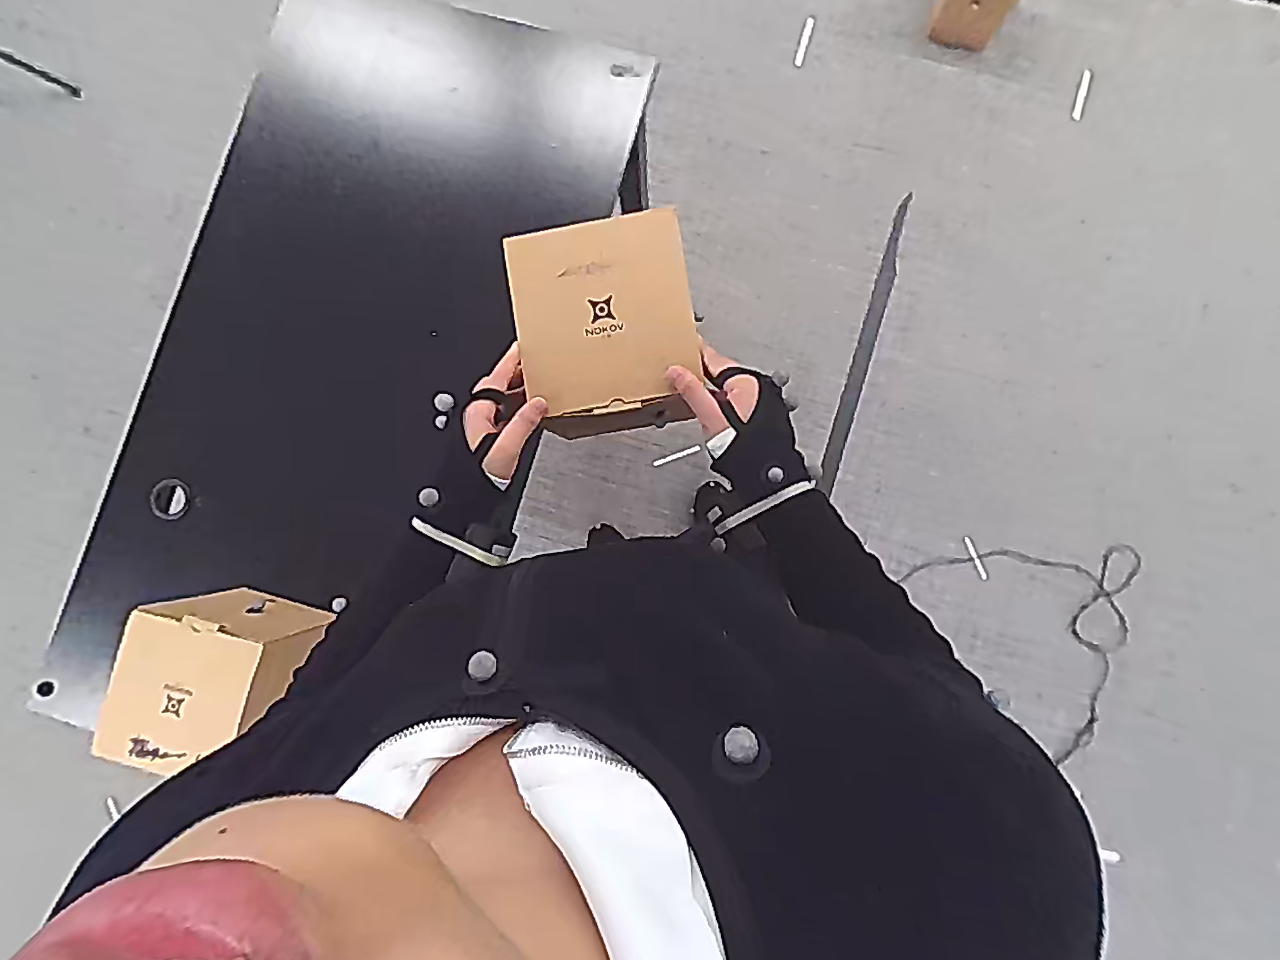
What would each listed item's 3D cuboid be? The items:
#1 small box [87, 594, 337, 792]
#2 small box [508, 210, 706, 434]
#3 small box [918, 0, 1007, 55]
[{"bbox_3d":[-0.530,0.256,0.700,0.168,0.176,0.179,14,86,3],"label":"small box"},{"bbox_3d":[-0.026,-0.149,0.575,0.168,0.176,0.179,-9,87,2],"label":"small box"},{"bbox_3d":[0.909,-1.335,1.500,0.179,0.176,0.168,17,88,2],"label":"small box"}]
